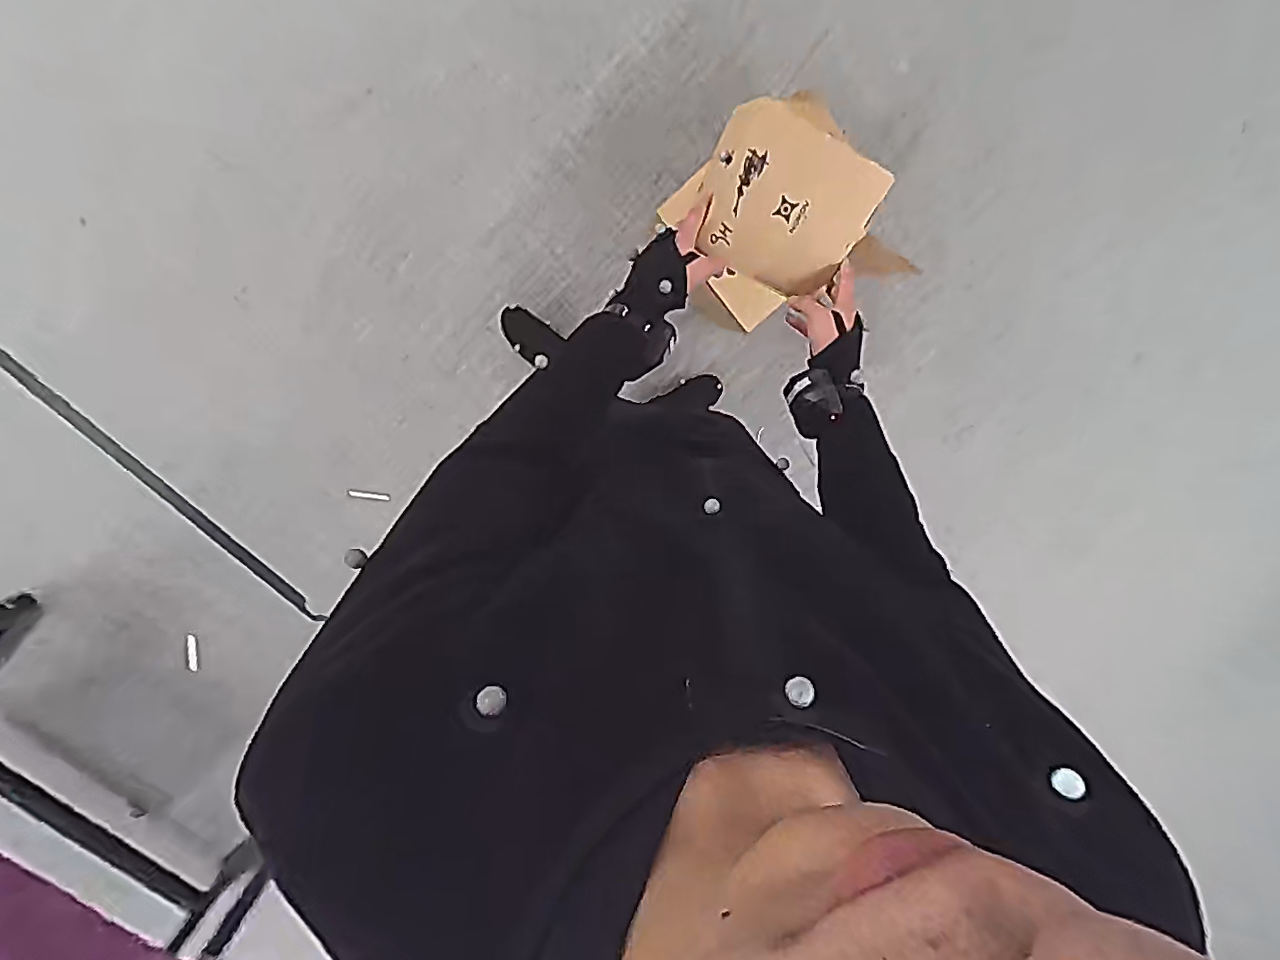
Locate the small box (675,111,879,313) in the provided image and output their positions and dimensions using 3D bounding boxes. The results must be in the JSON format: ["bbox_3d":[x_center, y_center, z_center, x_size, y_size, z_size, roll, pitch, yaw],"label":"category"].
[{"bbox_3d":[0.161,-0.347,0.700,0.179,0.176,0.168,21,119,-14],"label":"small box"}]
